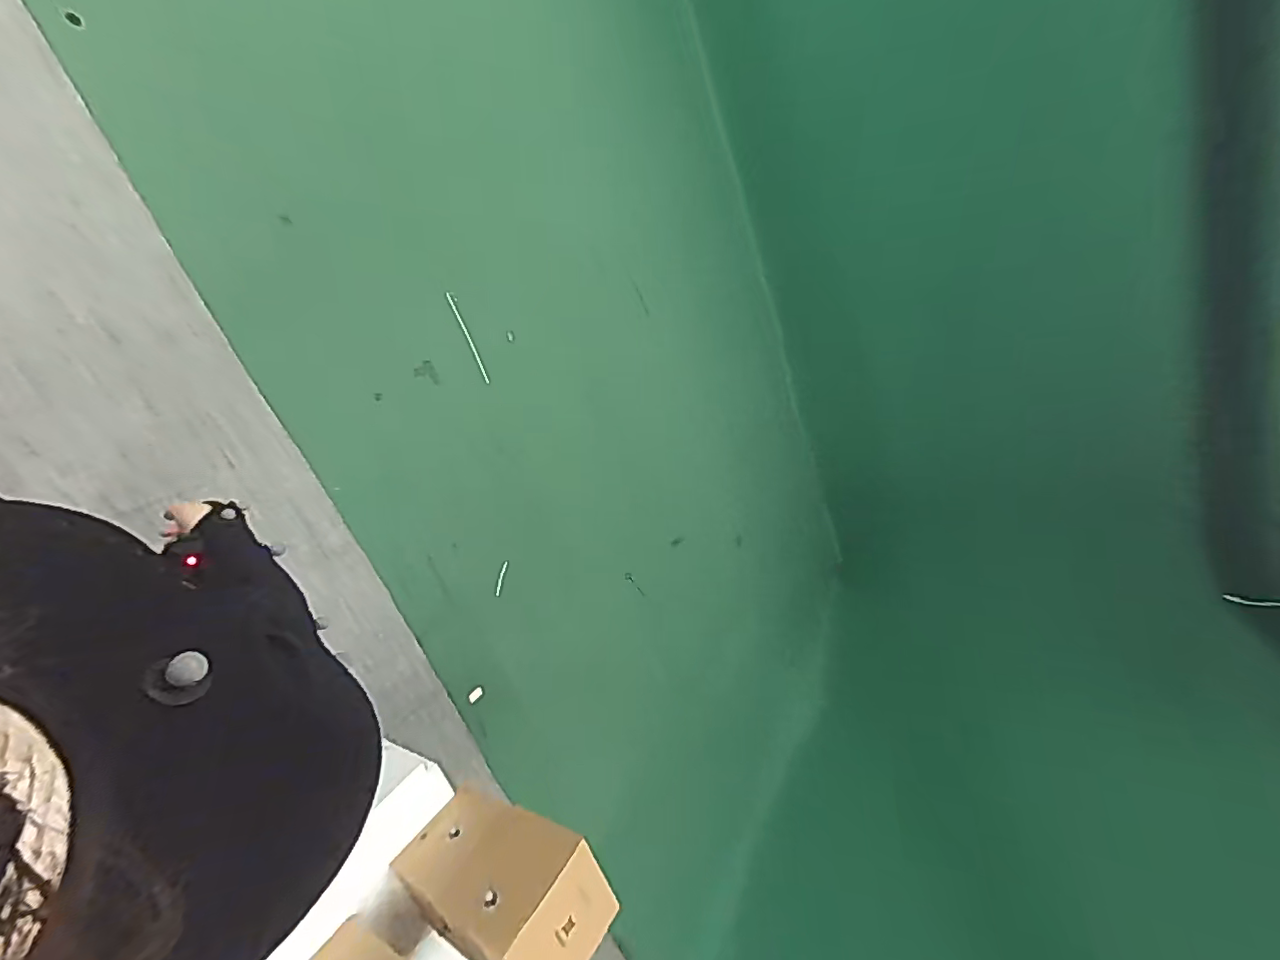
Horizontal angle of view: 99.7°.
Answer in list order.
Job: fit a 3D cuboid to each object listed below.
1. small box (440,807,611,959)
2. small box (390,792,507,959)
[{"bbox_3d":[-0.182,0.659,0.841,0.179,0.176,0.168,-40,117,-46],"label":"small box"},{"bbox_3d":[-0.302,0.684,0.948,0.168,0.176,0.179,-38,115,-45],"label":"small box"}]
